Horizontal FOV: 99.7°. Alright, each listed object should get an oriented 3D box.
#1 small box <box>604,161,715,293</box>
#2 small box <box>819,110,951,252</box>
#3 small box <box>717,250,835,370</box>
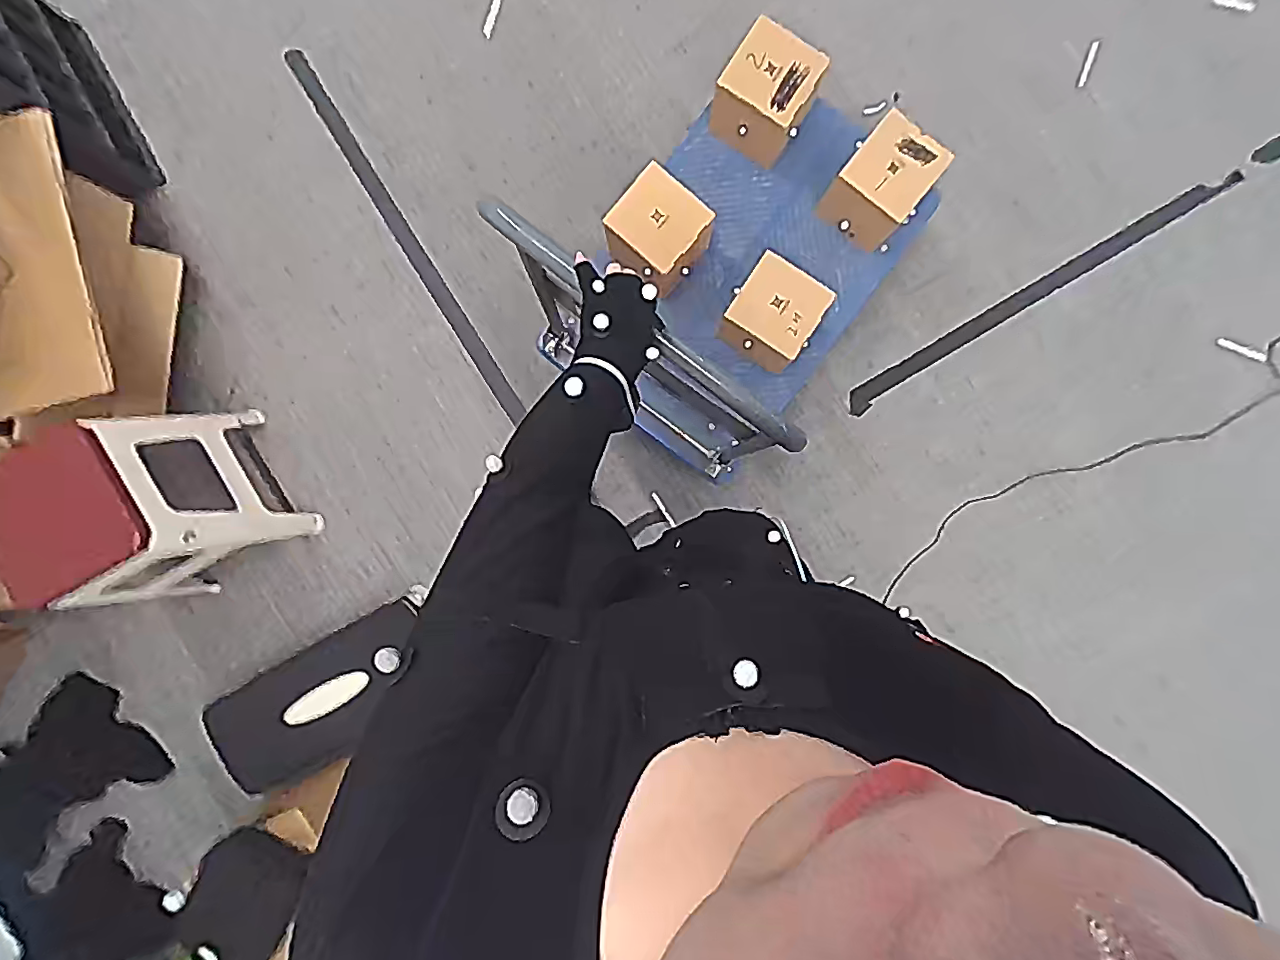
[{"bbox_3d":[0.041,-0.546,1.198,0.179,0.176,0.168,40,92,0],"label":"small box"},{"bbox_3d":[0.523,-0.644,1.186,0.168,0.176,0.179,39,93,0],"label":"small box"},{"bbox_3d":[0.288,-0.363,1.197,0.179,0.176,0.168,34,92,0],"label":"small box"}]
